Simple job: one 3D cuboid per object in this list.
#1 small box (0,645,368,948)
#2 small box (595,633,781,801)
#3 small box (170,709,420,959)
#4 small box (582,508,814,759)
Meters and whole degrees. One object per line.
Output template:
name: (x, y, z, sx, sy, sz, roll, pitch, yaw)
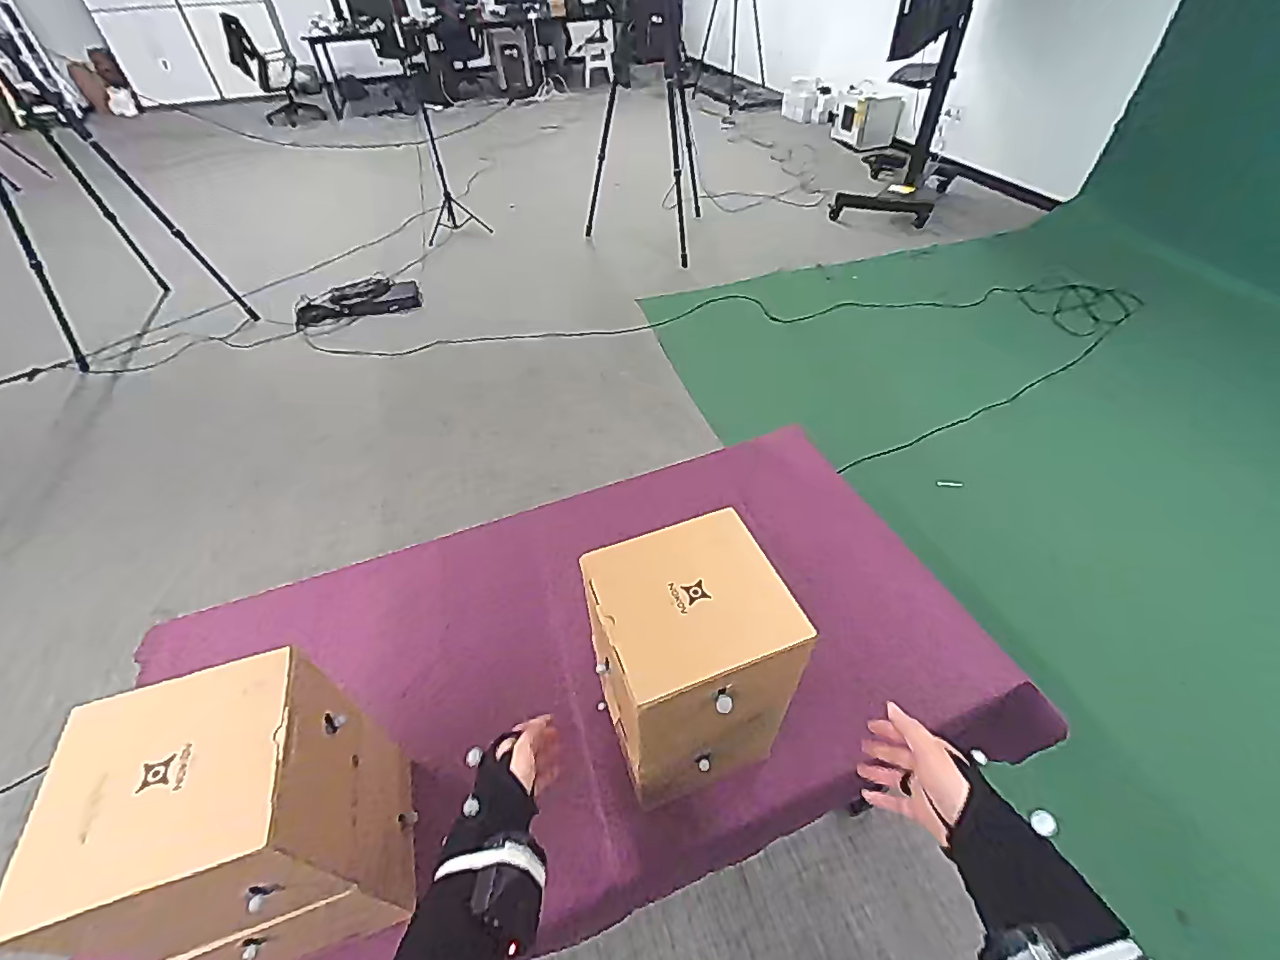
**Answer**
small box: (-0.362, 0.279, 0.480, 0.179, 0.176, 0.168, -15, 47, -10)
small box: (0.054, 0.276, 0.688, 0.179, 0.176, 0.168, -15, 47, -13)
small box: (-0.356, 0.393, 0.598, 0.168, 0.176, 0.179, -16, 47, -11)
small box: (0.051, 0.162, 0.570, 0.179, 0.176, 0.168, -17, 48, -12)
